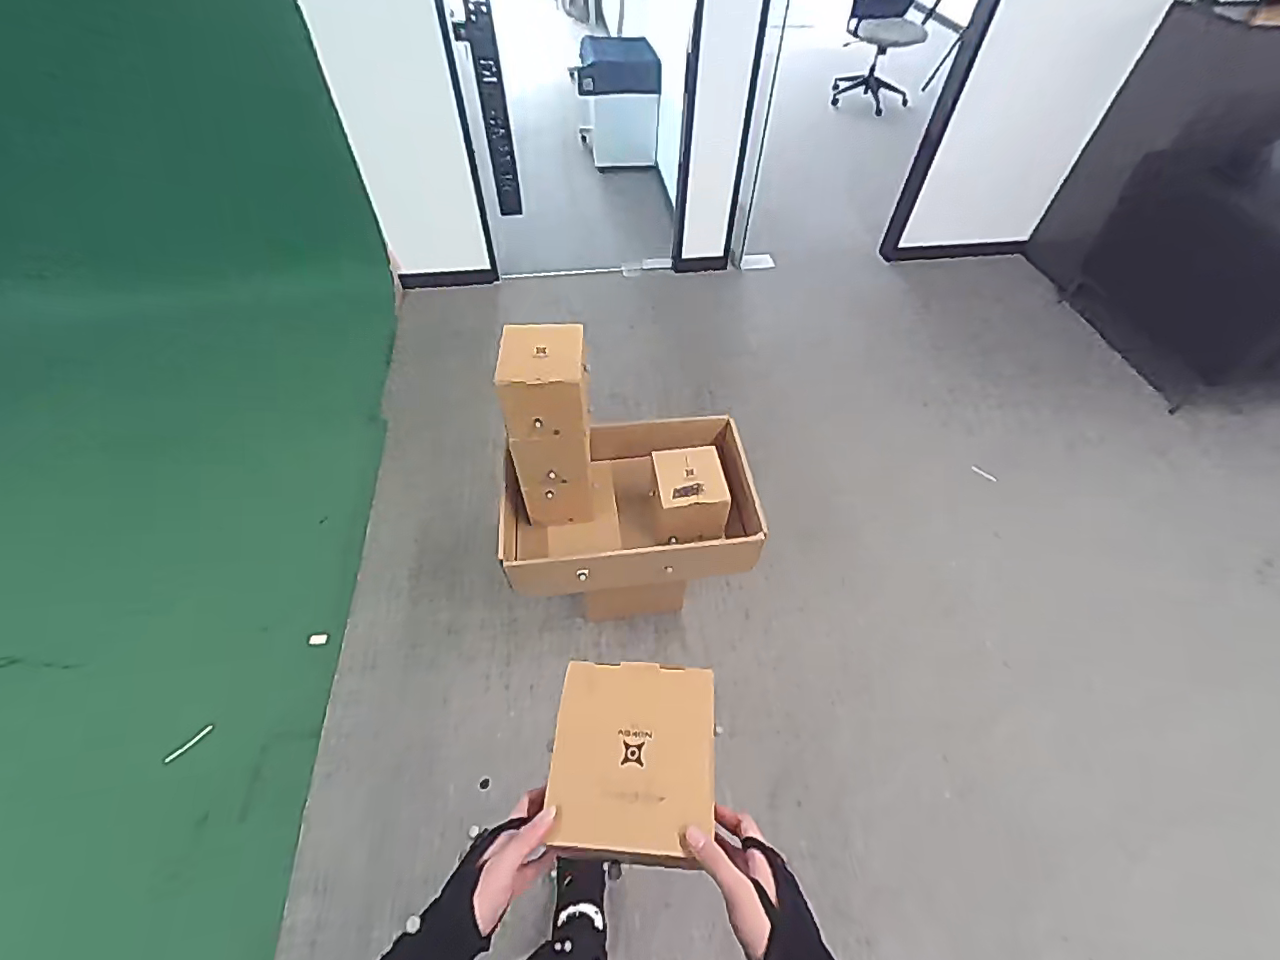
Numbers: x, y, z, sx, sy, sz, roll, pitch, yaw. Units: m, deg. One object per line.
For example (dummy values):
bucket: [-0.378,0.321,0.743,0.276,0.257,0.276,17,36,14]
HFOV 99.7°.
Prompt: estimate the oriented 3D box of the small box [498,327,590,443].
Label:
small box: [-0.193,-0.199,1.135,0.168,0.176,0.179,-1,53,-2]

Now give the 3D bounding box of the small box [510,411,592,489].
small box: [-0.201,-0.098,1.262,0.168,0.176,0.179,-2,52,-3]

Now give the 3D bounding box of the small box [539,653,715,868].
small box: [-0.005,0.318,0.612,0.168,0.176,0.179,3,51,5]

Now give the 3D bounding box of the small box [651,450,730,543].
small box: [0.119,0.048,1.364,0.168,0.176,0.179,-5,51,-6]

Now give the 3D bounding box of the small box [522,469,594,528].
small box: [-0.206,0.004,1.391,0.168,0.176,0.179,-4,52,-5]
